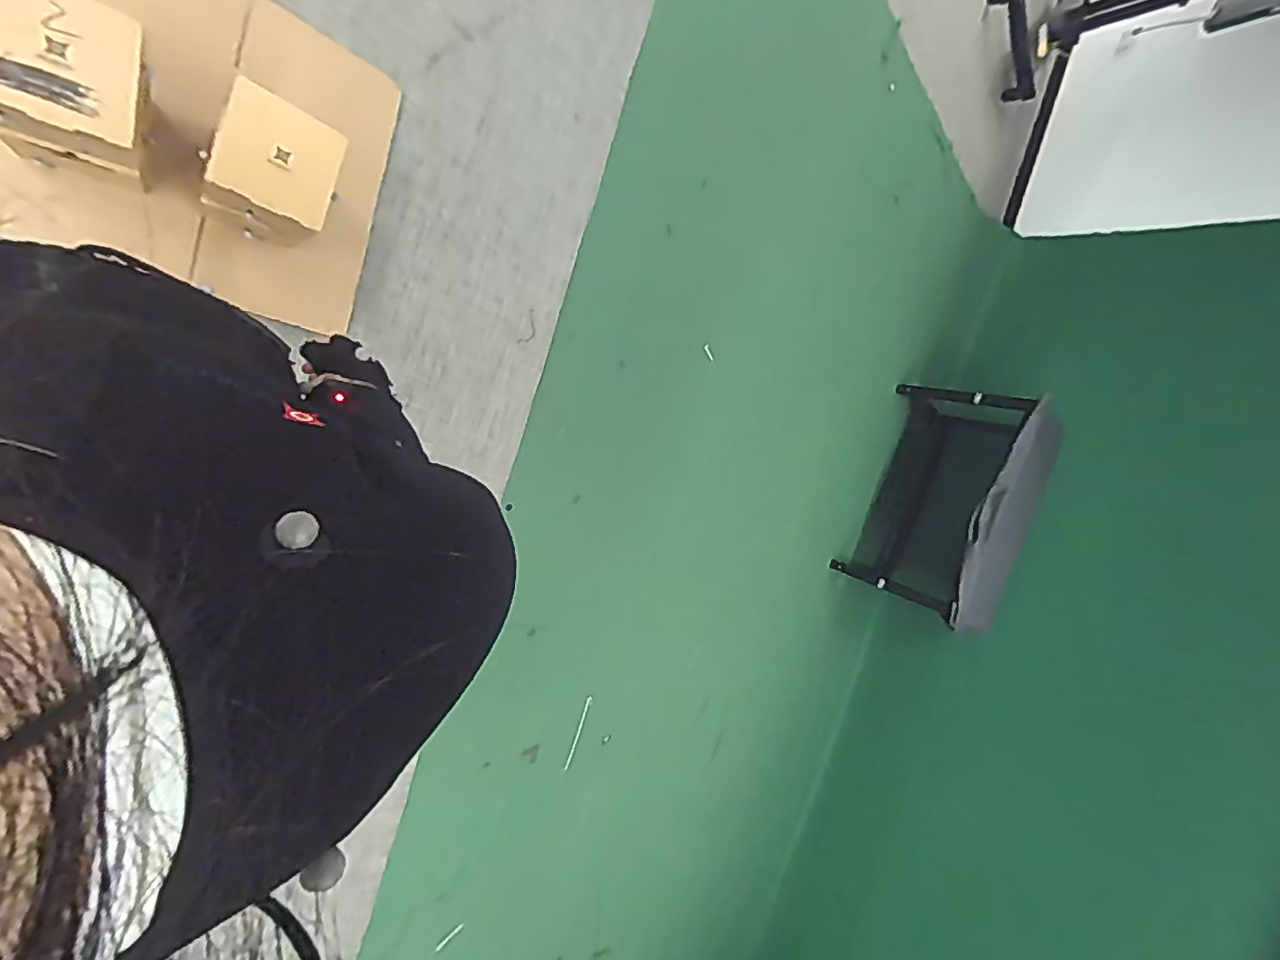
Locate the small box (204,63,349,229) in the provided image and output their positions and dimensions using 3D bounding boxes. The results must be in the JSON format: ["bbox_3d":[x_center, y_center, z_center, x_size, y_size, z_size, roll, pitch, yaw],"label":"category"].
[{"bbox_3d":[-0.644,-0.570,0.952,0.168,0.176,0.179,16,94,-43],"label":"small box"}]

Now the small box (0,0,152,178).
[{"bbox_3d":[-0.931,-0.632,0.898,0.168,0.176,0.179,7,100,-42],"label":"small box"}]

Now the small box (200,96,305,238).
[{"bbox_3d":[-0.751,-0.604,1.070,0.168,0.176,0.179,13,96,-41],"label":"small box"}]
